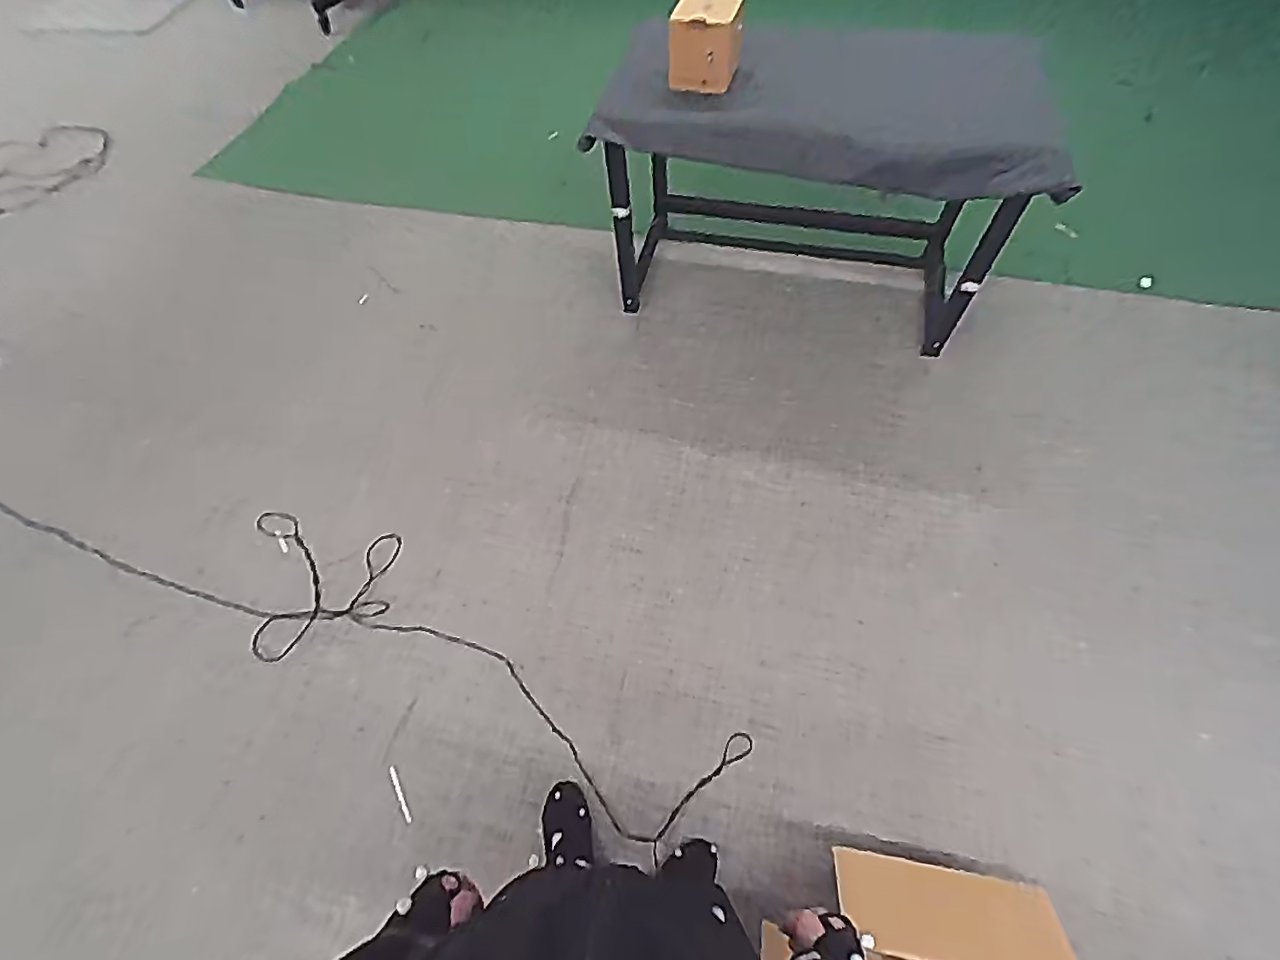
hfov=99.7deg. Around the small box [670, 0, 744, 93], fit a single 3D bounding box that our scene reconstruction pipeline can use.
[{"bbox_3d":[0.186,-1.219,1.513,0.168,0.176,0.179,14,61,9],"label":"small box"}]
